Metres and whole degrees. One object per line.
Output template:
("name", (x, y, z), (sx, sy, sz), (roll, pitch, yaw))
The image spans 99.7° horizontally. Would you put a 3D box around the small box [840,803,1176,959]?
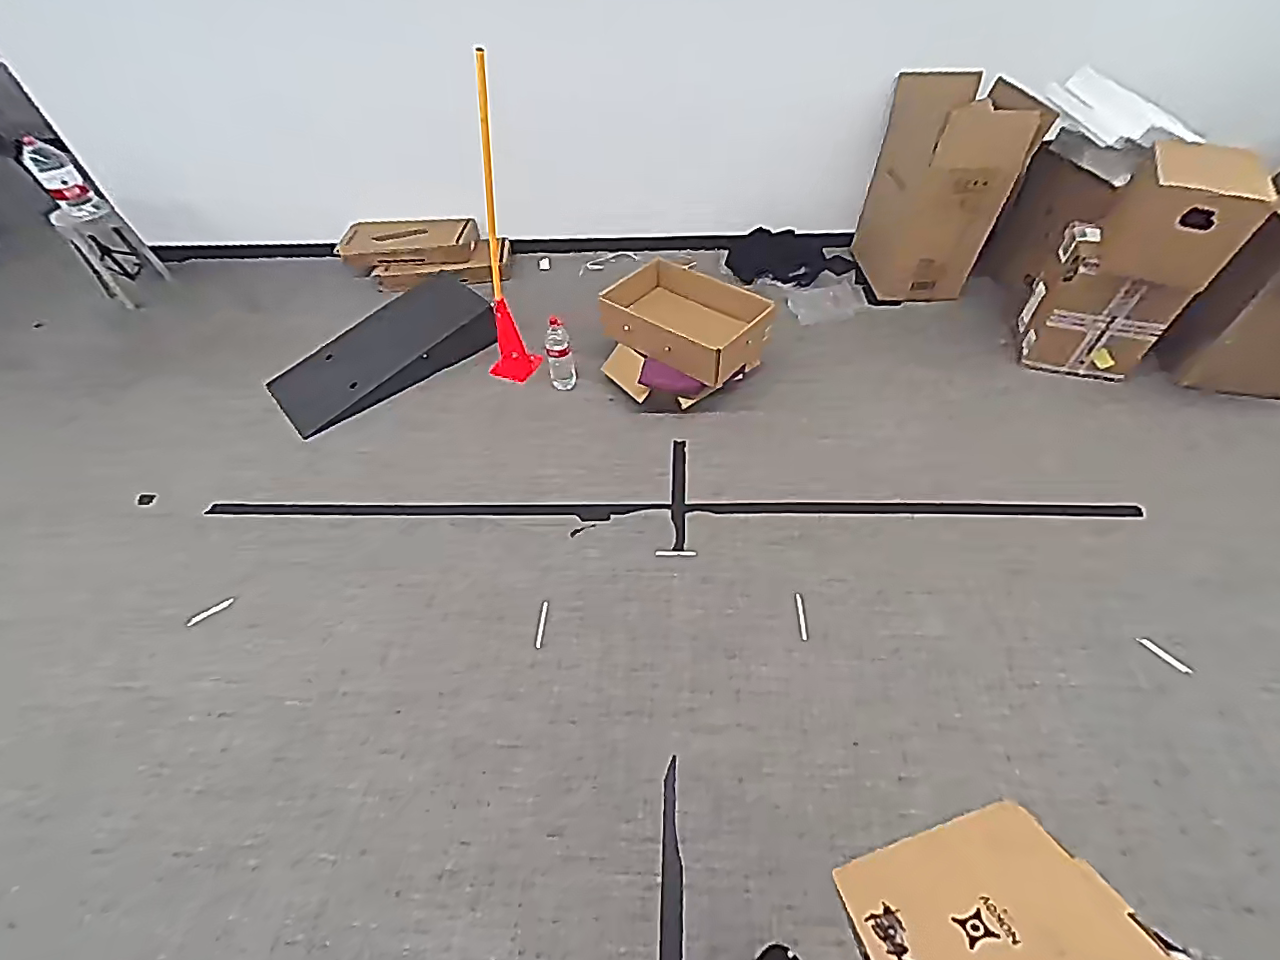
("small box", (0.287, 0.402, 0.412), (0.179, 0.176, 0.168), (-21, 9, 0))
